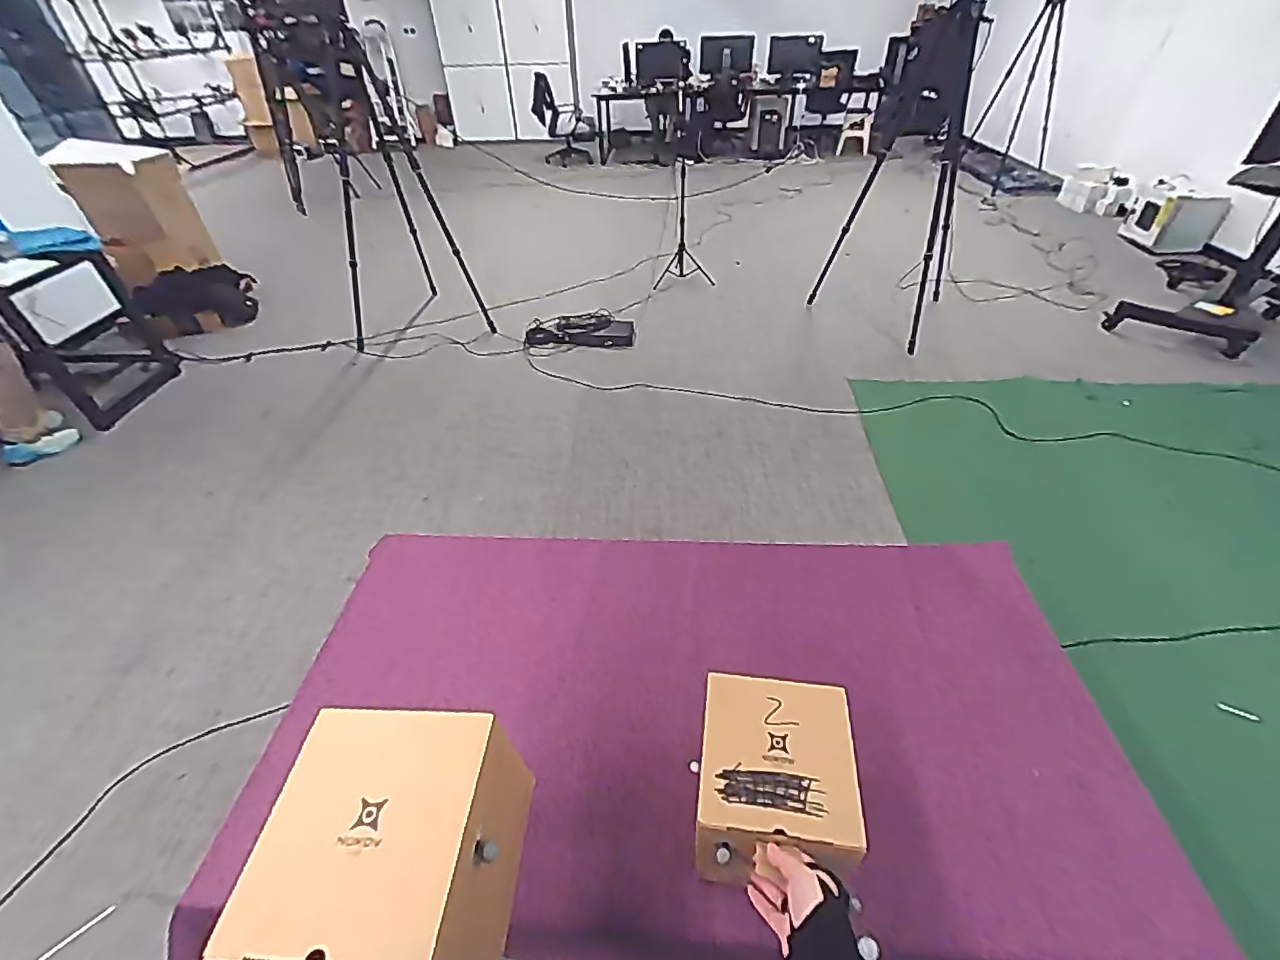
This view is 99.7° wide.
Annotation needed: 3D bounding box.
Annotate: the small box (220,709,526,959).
[{"bbox_3d":[-0.212,0.333,0.495,0.168,0.176,0.179,-1,45,6],"label":"small box"}]
